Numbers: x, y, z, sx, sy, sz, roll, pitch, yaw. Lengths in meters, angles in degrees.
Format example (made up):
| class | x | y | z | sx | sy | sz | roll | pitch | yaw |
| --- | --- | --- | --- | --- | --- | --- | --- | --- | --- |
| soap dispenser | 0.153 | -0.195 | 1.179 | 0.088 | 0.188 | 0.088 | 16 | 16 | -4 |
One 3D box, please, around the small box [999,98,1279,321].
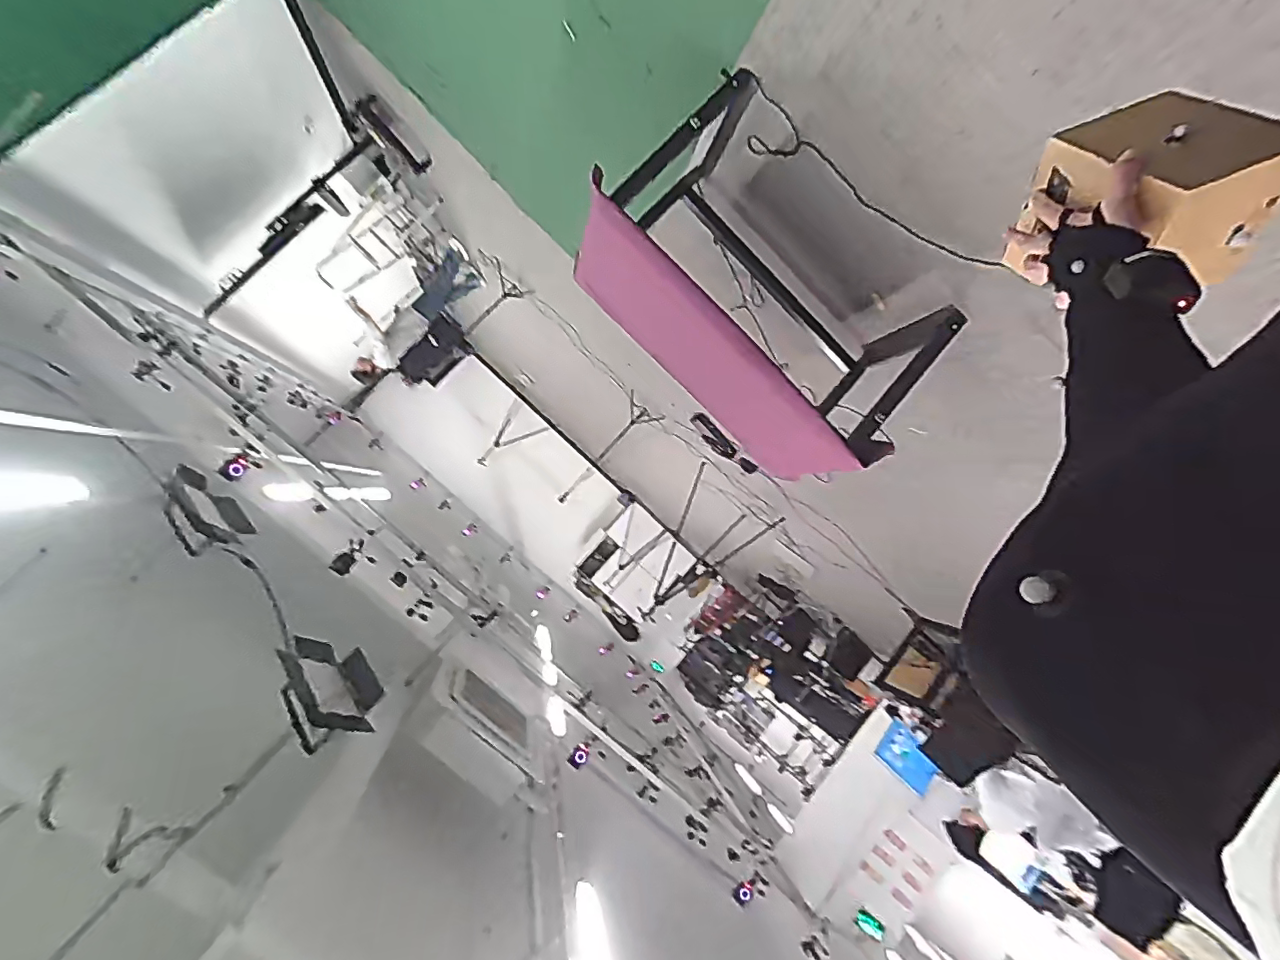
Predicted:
| class | x | y | z | sx | sy | sz | roll | pitch | yaw |
| --- | --- | --- | --- | --- | --- | --- | --- | --- | --- |
| small box | 0.596 | -0.331 | 0.655 | 0.168 | 0.176 | 0.179 | 71 | 174 | -51 |
